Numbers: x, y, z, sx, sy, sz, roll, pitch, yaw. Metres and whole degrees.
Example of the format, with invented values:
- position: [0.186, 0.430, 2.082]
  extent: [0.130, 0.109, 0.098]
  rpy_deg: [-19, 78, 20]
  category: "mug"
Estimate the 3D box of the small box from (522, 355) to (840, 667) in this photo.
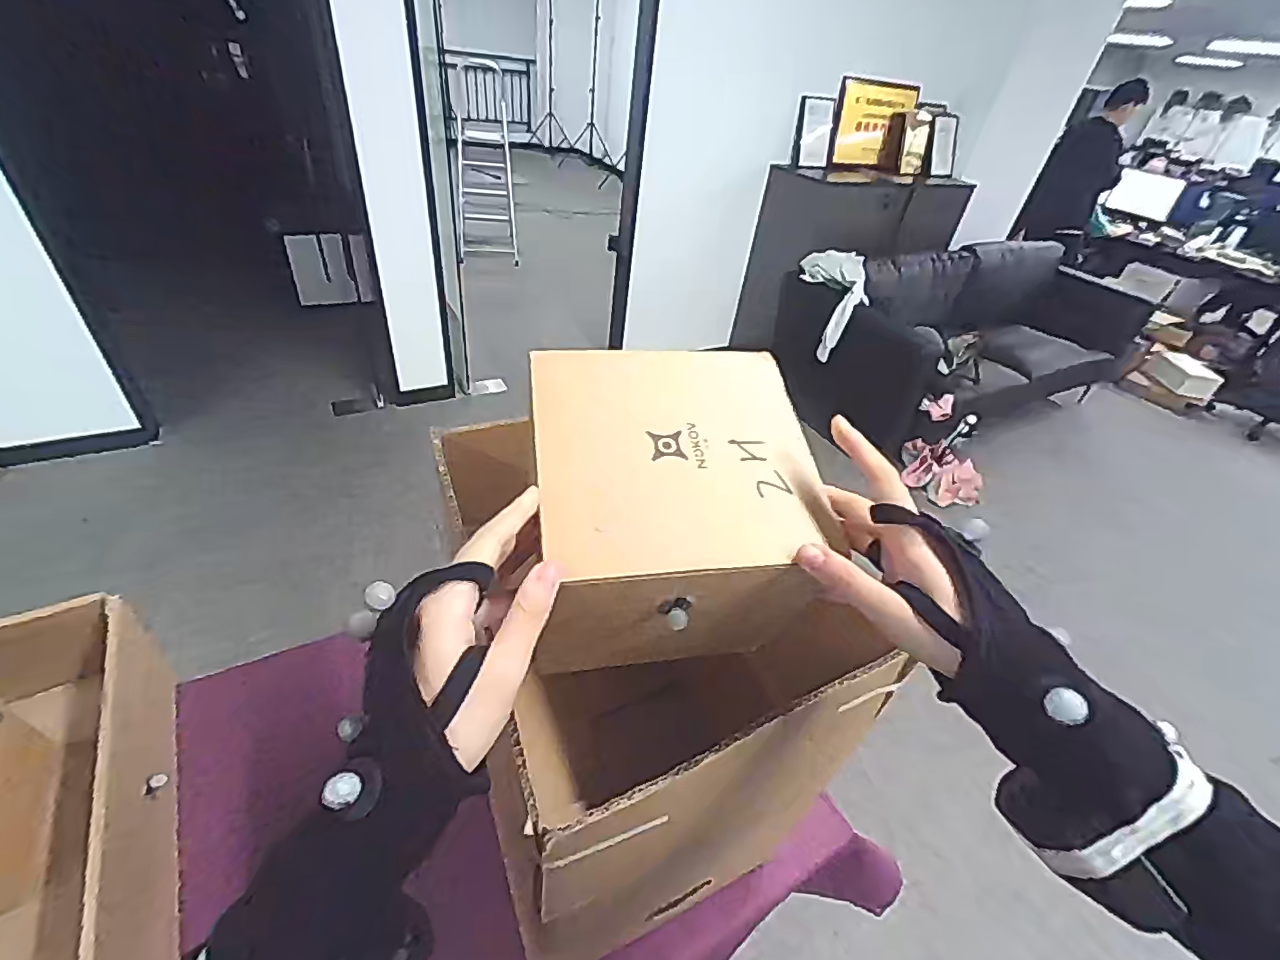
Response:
- position: [0.007, 0.028, 0.397]
  extent: [0.179, 0.176, 0.168]
  rpy_deg: [-2, 57, -13]
  category: "small box"

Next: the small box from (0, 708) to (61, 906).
- position: [-0.717, 0.328, 0.515]
  extent: [0.168, 0.176, 0.179]
  rpy_deg: [-16, 45, -25]
  category: "small box"
